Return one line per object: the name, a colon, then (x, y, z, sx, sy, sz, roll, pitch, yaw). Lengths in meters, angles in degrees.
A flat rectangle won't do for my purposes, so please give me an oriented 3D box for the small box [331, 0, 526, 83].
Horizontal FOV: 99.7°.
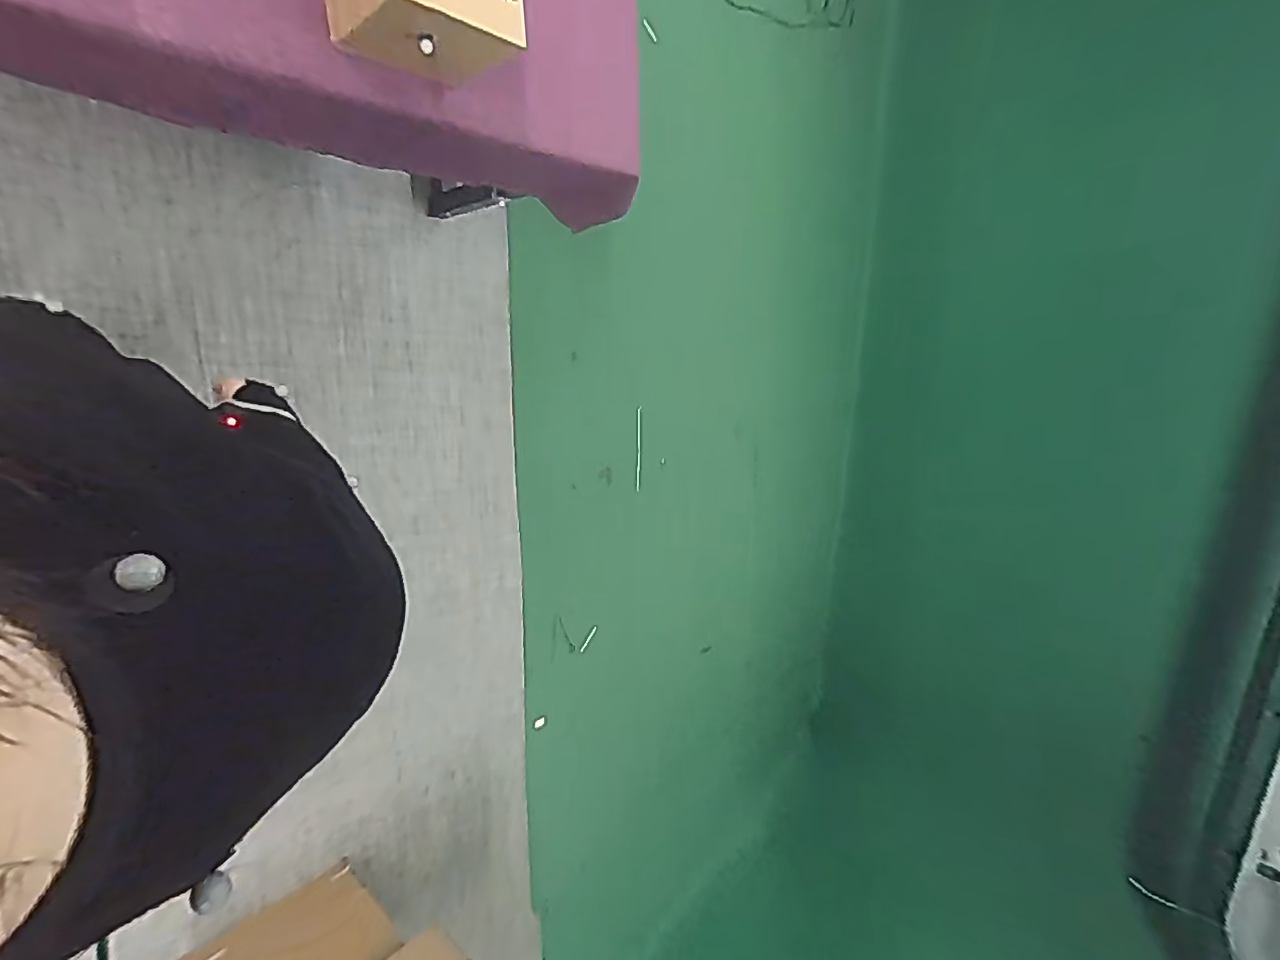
small box: (-0.265, -0.618, 0.656, 0.179, 0.176, 0.168, -19, 114, -45)
